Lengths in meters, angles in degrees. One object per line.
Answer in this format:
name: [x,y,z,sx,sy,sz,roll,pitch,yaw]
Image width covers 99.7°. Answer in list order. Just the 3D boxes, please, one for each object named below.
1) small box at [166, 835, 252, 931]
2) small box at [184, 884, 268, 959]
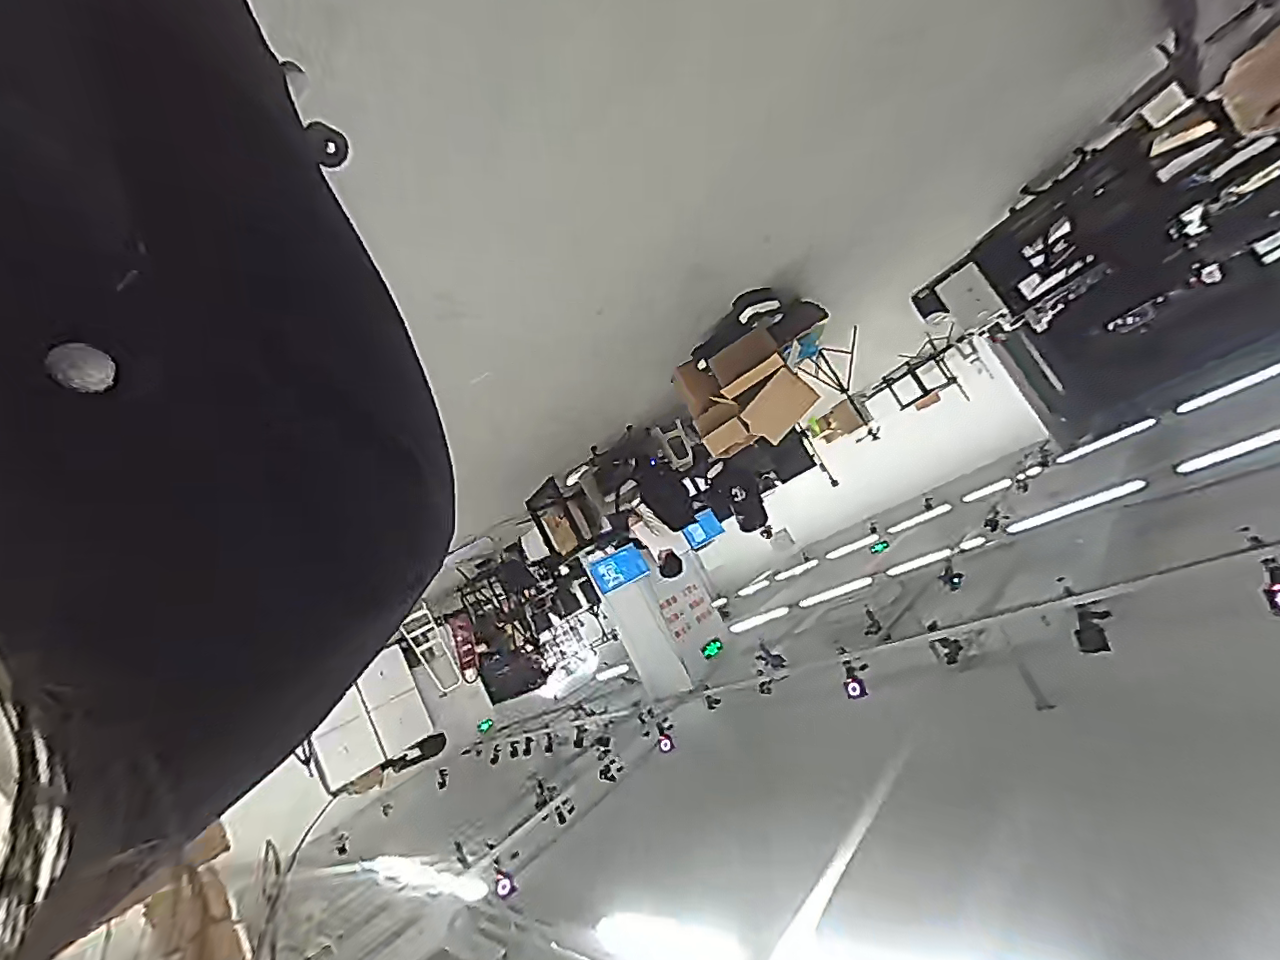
small box: [-1.372,1.273,1.722,0.179,0.176,0.168,-22,167,-39]
small box: [-1.288,1.408,1.687,0.168,0.176,0.179,-21,166,-38]
